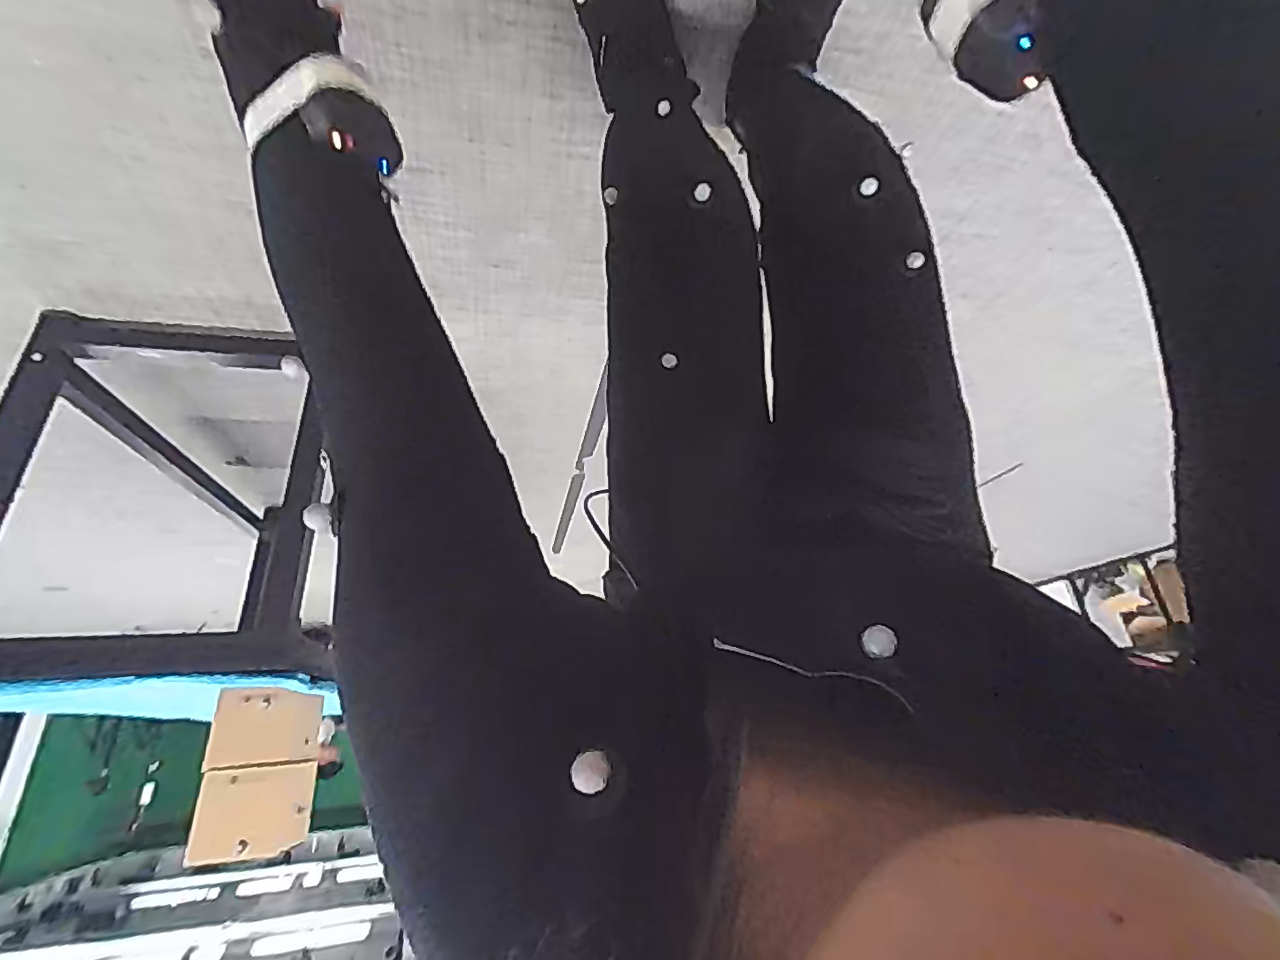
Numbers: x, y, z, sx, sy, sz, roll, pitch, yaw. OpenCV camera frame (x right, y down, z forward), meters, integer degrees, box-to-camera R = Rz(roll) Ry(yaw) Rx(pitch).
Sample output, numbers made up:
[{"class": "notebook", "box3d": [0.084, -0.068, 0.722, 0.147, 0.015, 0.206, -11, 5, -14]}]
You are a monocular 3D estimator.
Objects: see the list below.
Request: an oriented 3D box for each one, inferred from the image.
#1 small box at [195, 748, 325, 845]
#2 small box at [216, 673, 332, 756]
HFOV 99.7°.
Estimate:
[{"class": "small box", "box3d": [-0.833, 0.696, 1.209, 0.168, 0.176, 0.179, 0, 155, -8]}, {"class": "small box", "box3d": [-0.851, 0.551, 1.279, 0.168, 0.176, 0.179, 1, 156, -12]}]
